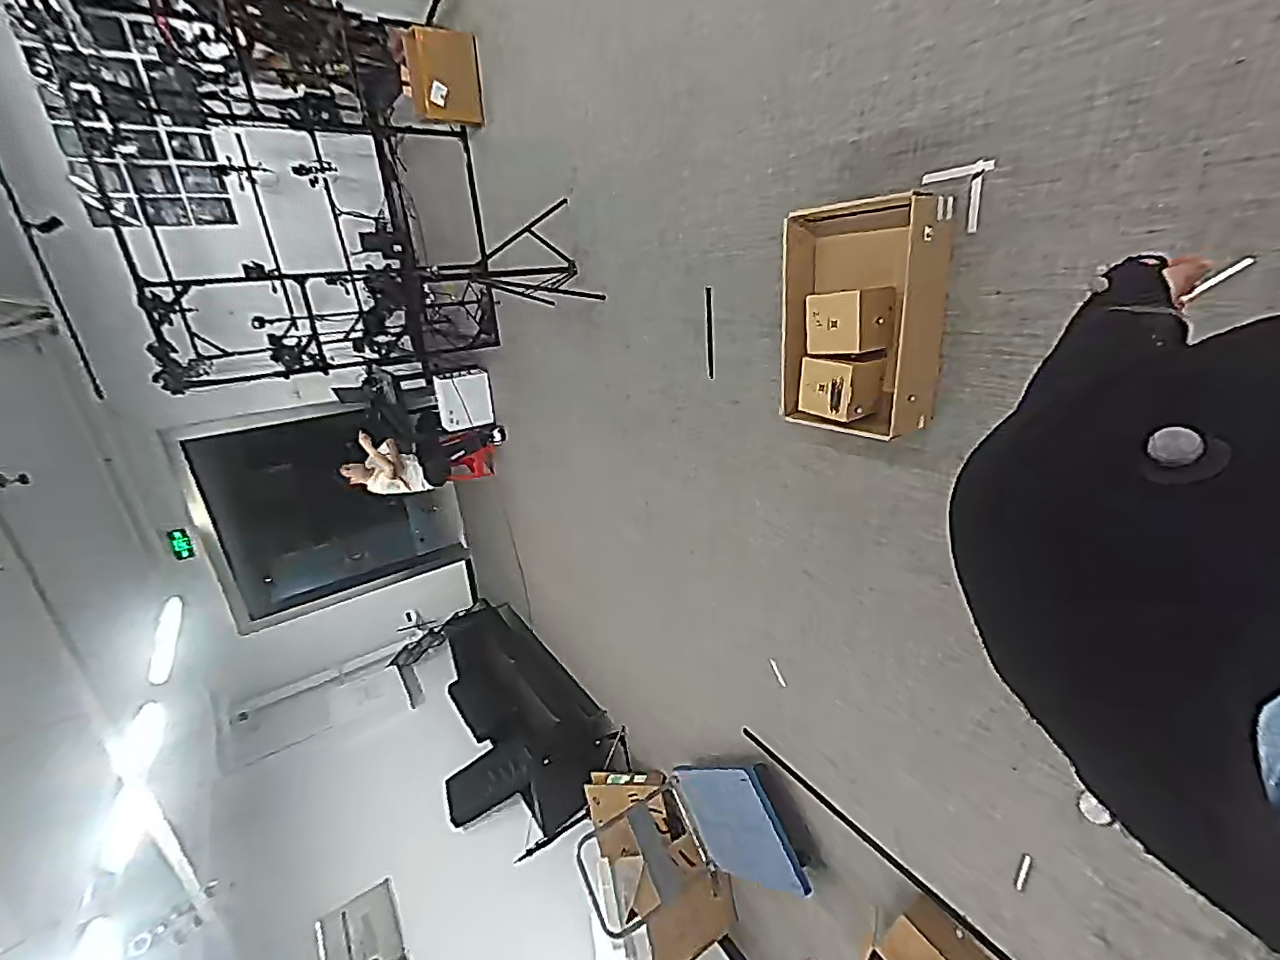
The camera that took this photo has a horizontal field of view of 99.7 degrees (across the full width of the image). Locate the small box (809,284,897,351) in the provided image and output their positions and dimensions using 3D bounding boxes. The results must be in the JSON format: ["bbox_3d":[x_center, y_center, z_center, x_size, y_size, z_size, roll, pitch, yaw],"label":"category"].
[{"bbox_3d":[0.607,-0.461,1.537,0.179,0.176,0.168,19,120,54],"label":"small box"}]
